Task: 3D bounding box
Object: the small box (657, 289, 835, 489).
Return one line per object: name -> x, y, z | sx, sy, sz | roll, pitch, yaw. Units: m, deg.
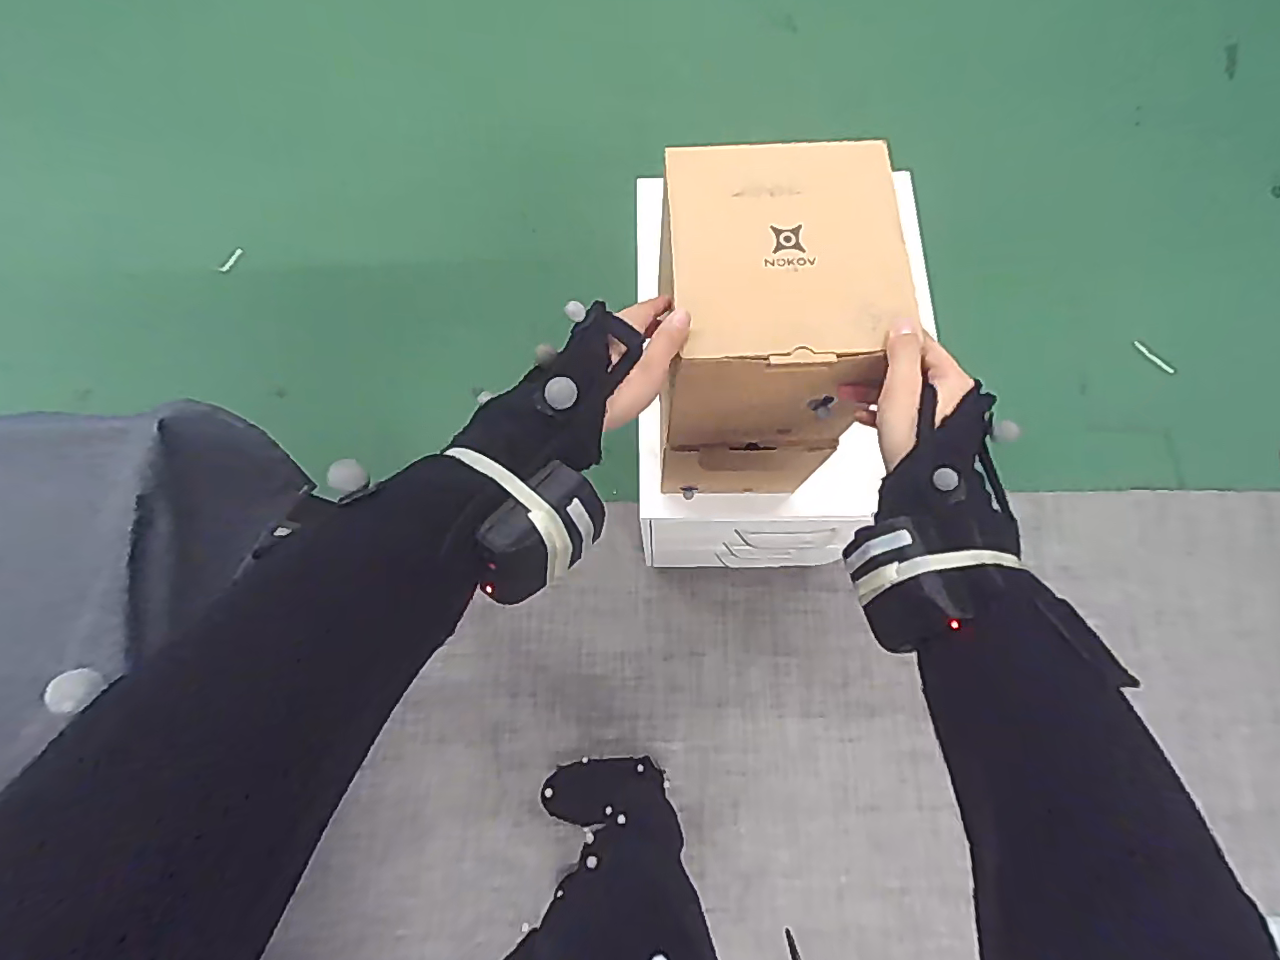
small box -> 0.105, -0.090, 0.607 | 0.168, 0.176, 0.179 | 0, 74, 0
